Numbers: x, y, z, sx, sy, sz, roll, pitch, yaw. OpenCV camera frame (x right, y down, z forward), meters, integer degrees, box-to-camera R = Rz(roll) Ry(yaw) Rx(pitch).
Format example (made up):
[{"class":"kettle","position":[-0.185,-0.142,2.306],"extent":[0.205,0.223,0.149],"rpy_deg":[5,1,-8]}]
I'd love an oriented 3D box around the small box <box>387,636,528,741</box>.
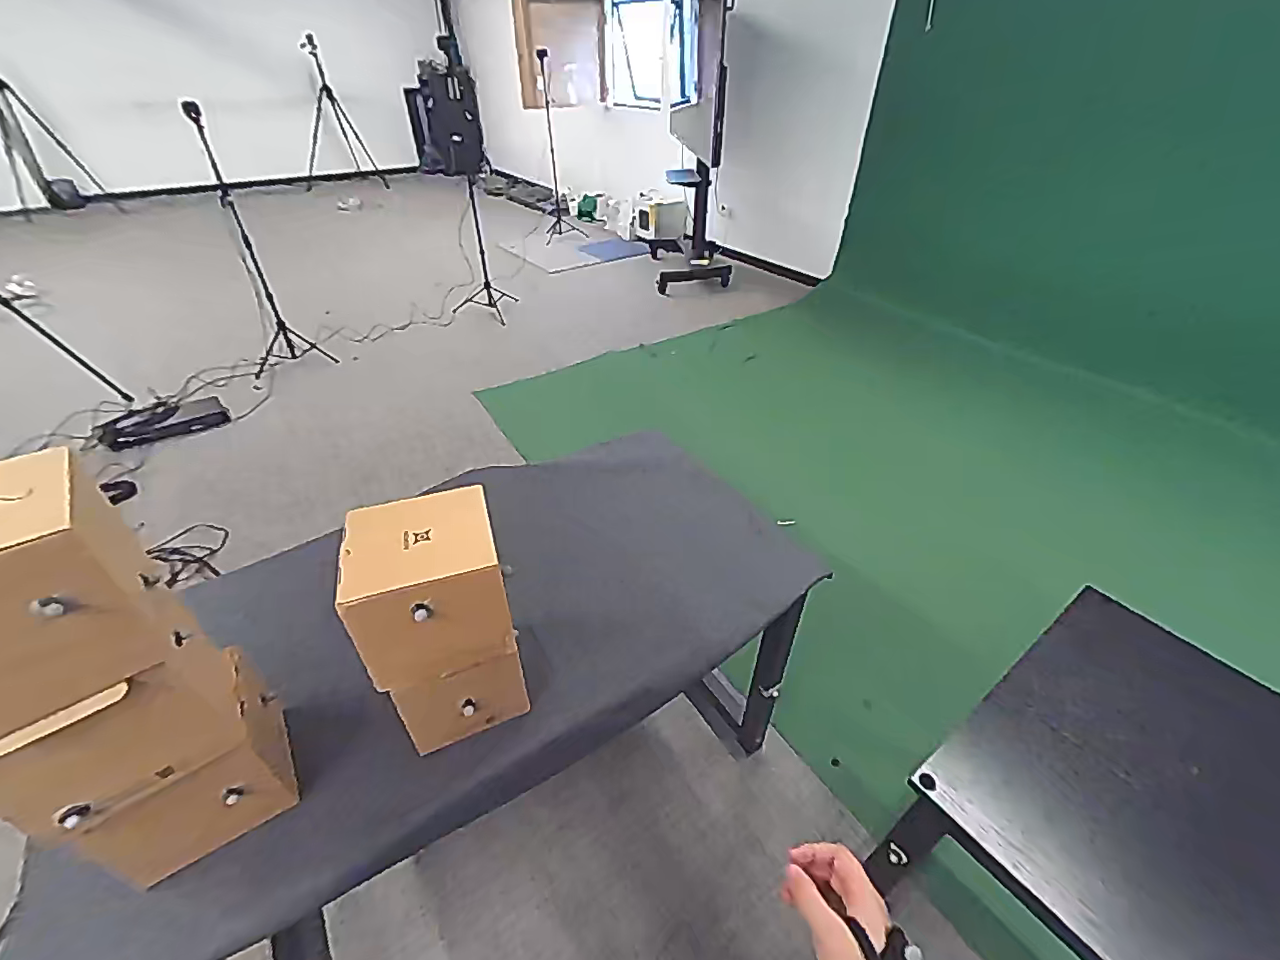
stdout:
[{"class":"small box","position":[-0.276,0.260,0.811],"extent":[0.168,0.176,0.179],"rpy_deg":[-17,41,-19]}]

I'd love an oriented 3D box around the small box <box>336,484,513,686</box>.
[{"class":"small box","position":[-0.269,0.134,0.706],"extent":[0.179,0.176,0.168],"rpy_deg":[-14,39,-15]}]

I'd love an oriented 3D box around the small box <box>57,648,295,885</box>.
[{"class":"small box","position":[-0.569,0.359,0.689],"extent":[0.179,0.176,0.168],"rpy_deg":[-25,43,-27]}]

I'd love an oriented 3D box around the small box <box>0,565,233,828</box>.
[{"class":"small box","position":[-0.577,0.233,0.583],"extent":[0.168,0.176,0.179],"rpy_deg":[-27,43,-31]}]
